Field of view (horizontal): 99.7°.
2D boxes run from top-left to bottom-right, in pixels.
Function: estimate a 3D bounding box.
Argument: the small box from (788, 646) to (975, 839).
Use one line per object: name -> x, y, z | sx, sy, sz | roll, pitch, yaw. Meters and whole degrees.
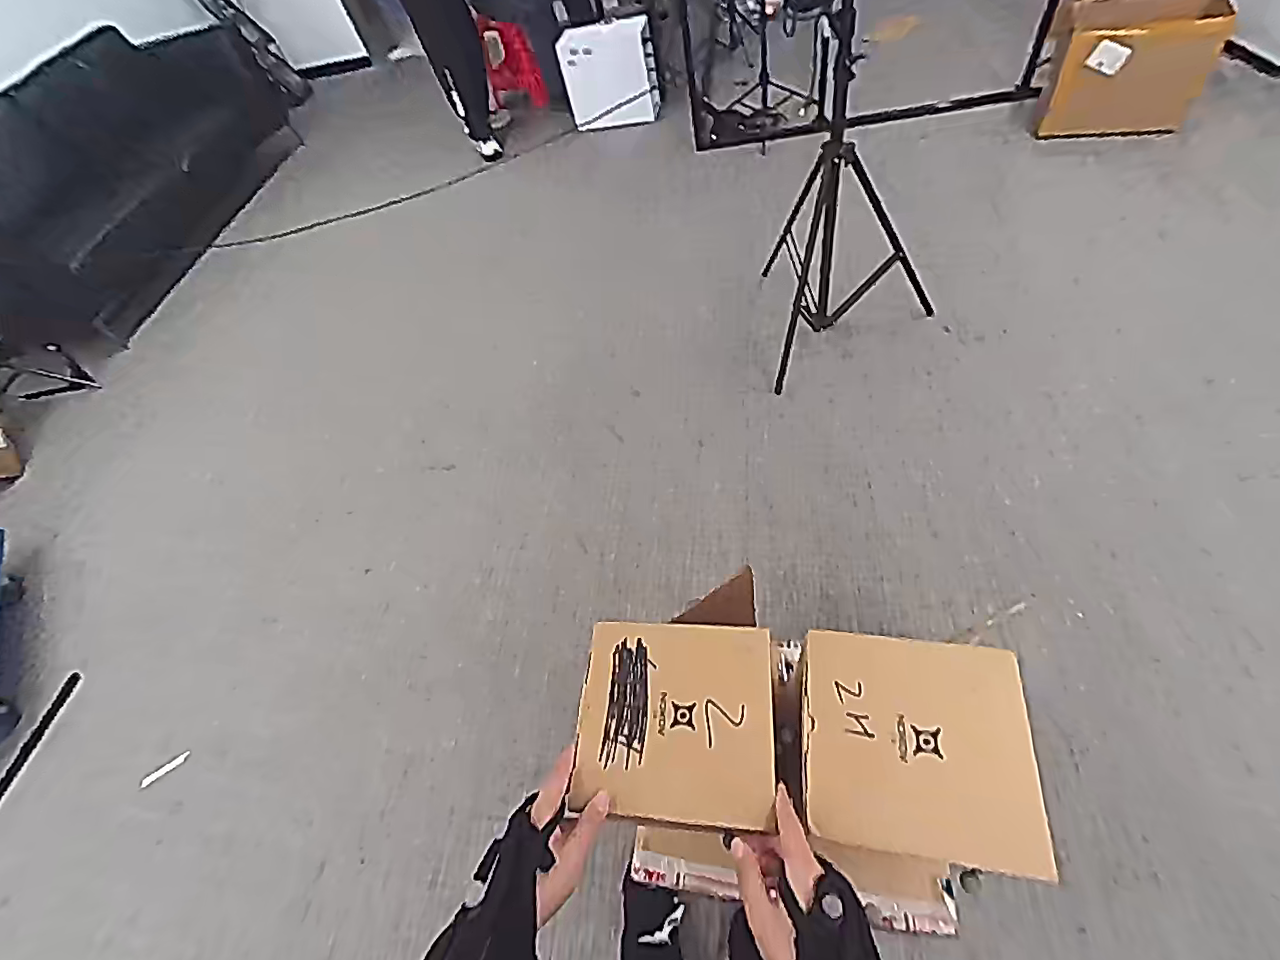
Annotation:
small box -> 0.276, 0.318, 0.654 | 0.179, 0.176, 0.168 | 5, 60, 15
